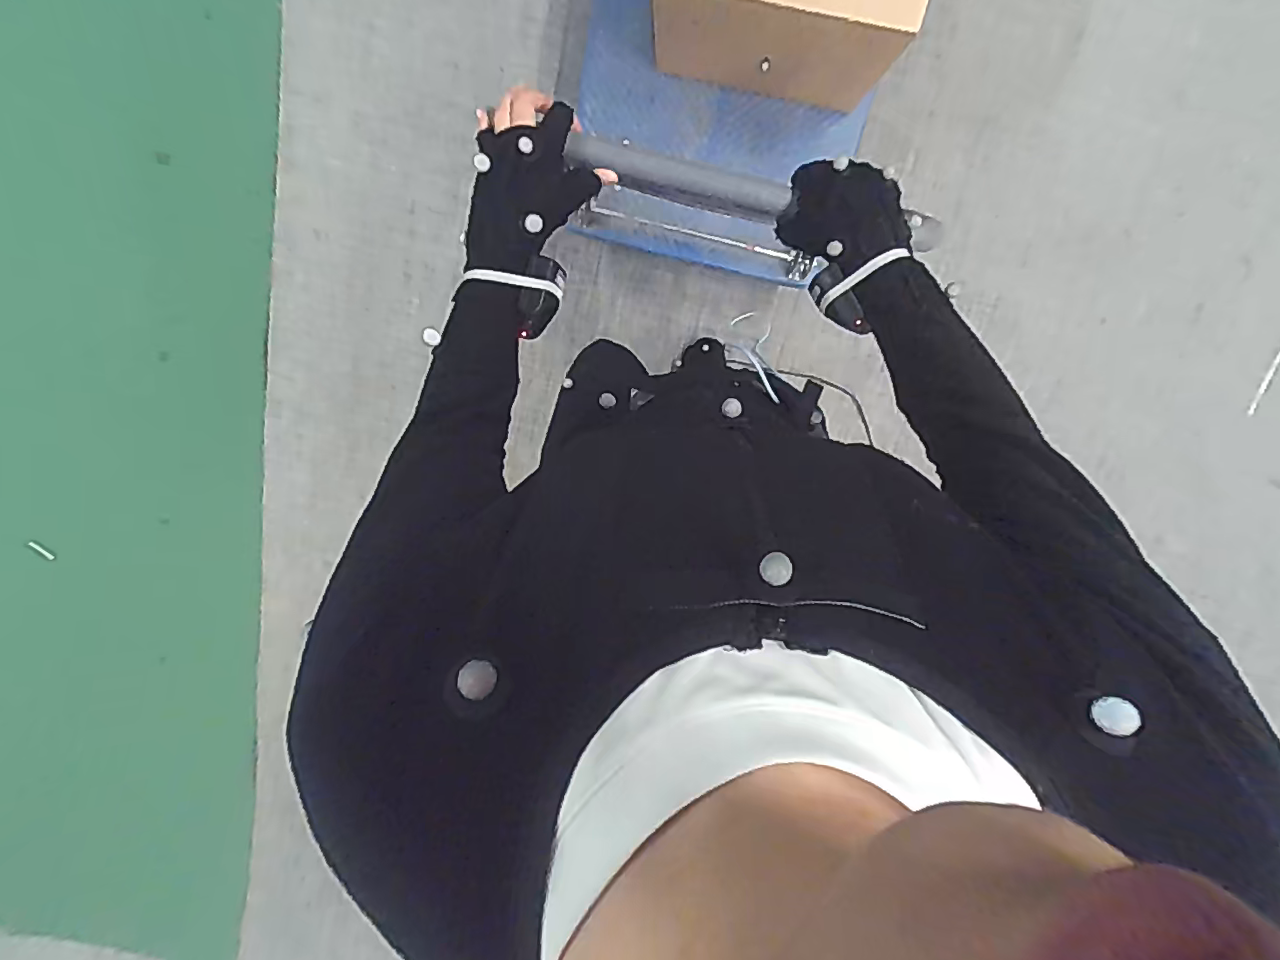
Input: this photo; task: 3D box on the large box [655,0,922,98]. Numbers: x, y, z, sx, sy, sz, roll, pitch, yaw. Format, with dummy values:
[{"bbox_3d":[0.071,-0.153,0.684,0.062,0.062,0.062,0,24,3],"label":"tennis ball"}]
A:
[{"bbox_3d":[0.252,-0.894,0.903,0.408,0.320,0.320,11,107,1],"label":"large box"}]
